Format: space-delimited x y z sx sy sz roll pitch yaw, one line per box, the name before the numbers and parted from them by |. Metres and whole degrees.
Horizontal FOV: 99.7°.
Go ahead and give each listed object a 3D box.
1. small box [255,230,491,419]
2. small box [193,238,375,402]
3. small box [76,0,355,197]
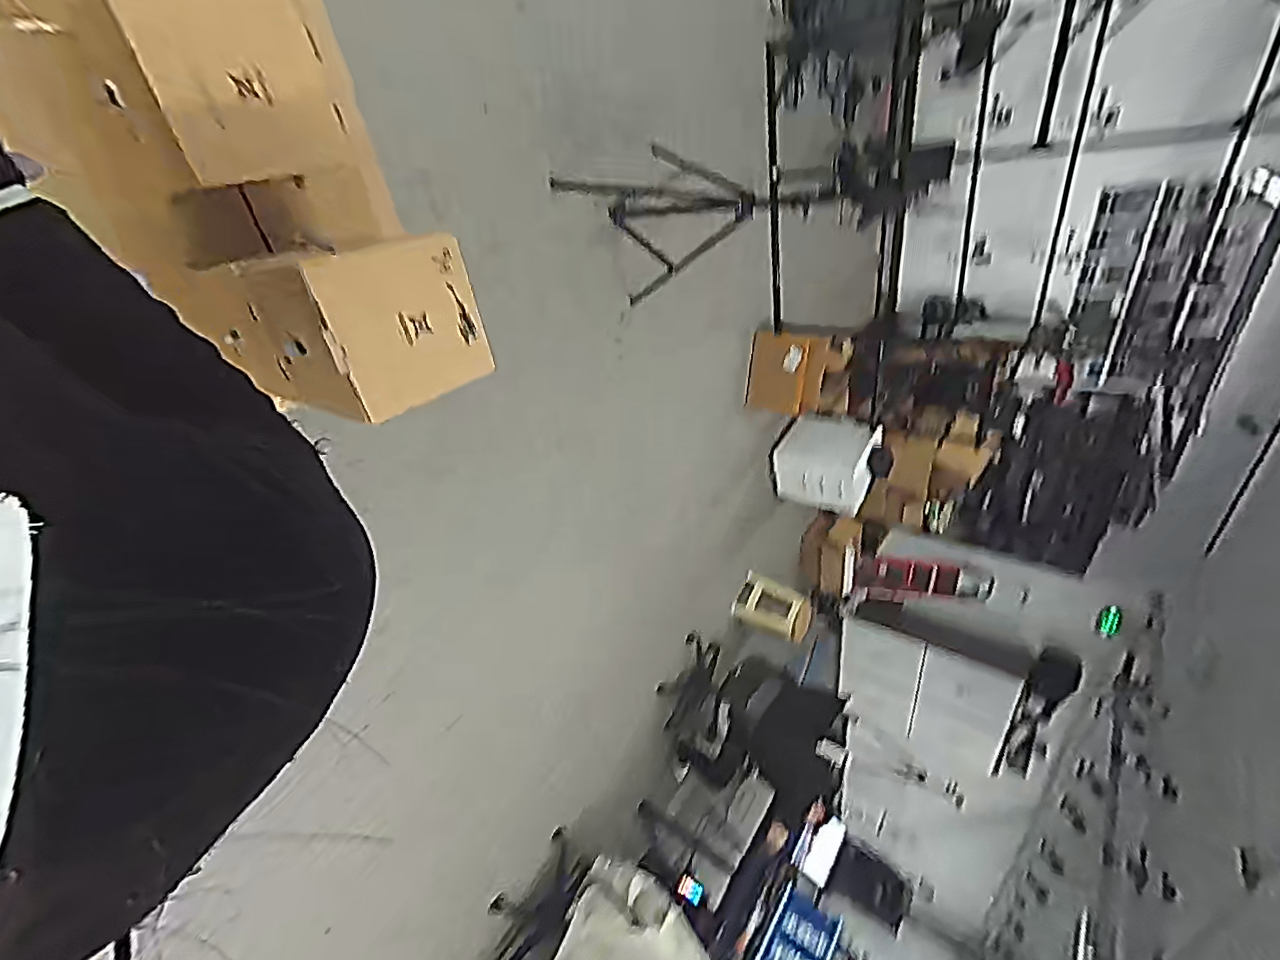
small box | -0.315 -0.186 0.639 0.179 0.176 0.168 -38 129 -39
small box | -0.446 -0.222 0.730 0.179 0.176 0.168 -39 130 -39
small box | -0.475 -0.431 0.616 0.179 0.176 0.168 -39 131 -38
